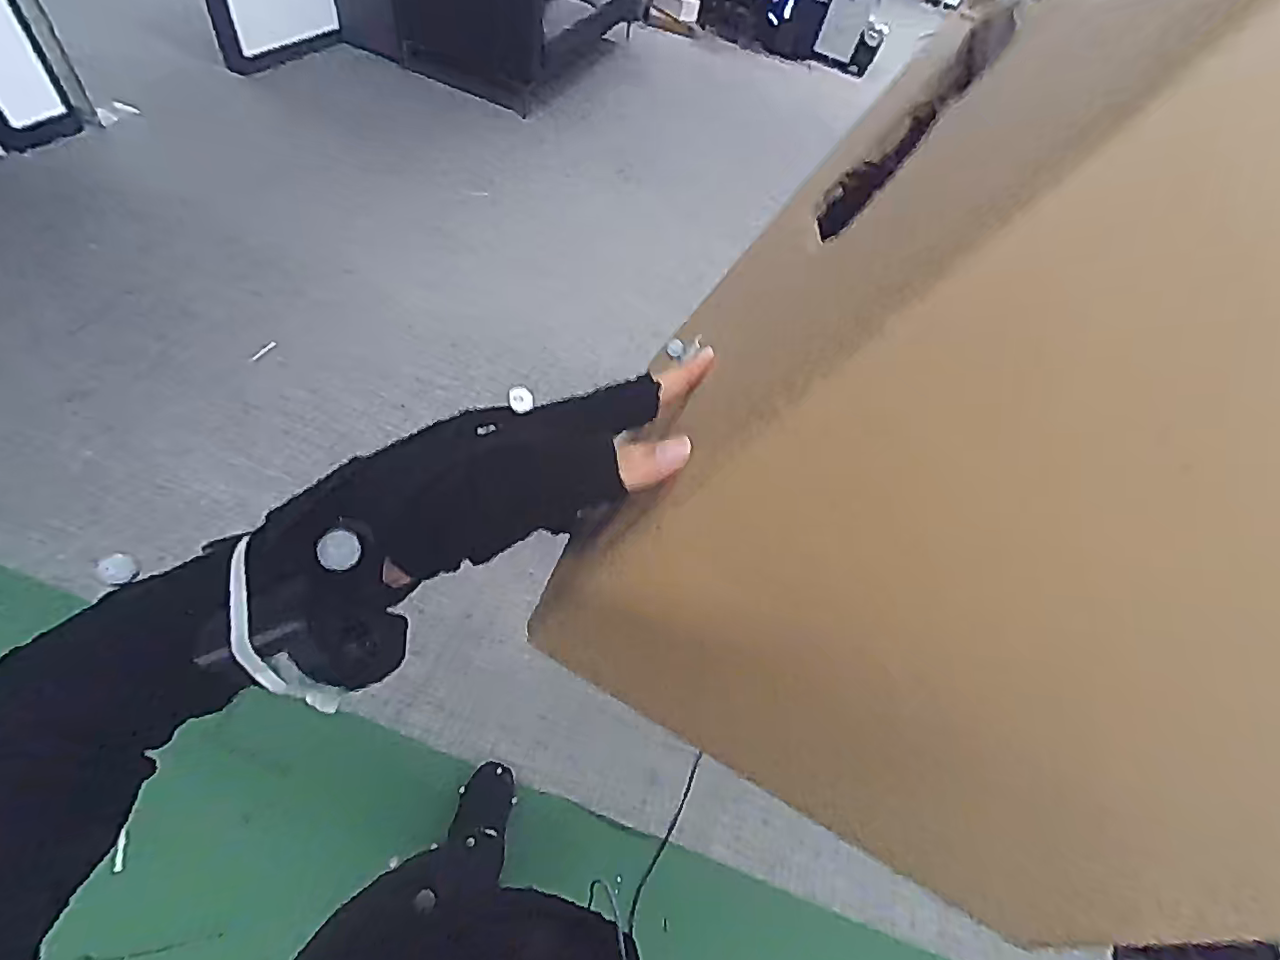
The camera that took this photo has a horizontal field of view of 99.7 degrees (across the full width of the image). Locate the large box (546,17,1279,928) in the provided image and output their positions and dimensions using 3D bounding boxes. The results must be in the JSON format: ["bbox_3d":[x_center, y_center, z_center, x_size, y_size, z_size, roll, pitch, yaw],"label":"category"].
[{"bbox_3d":[0.217,0.022,0.351,0.408,0.320,0.320,38,38,-13],"label":"large box"}]
